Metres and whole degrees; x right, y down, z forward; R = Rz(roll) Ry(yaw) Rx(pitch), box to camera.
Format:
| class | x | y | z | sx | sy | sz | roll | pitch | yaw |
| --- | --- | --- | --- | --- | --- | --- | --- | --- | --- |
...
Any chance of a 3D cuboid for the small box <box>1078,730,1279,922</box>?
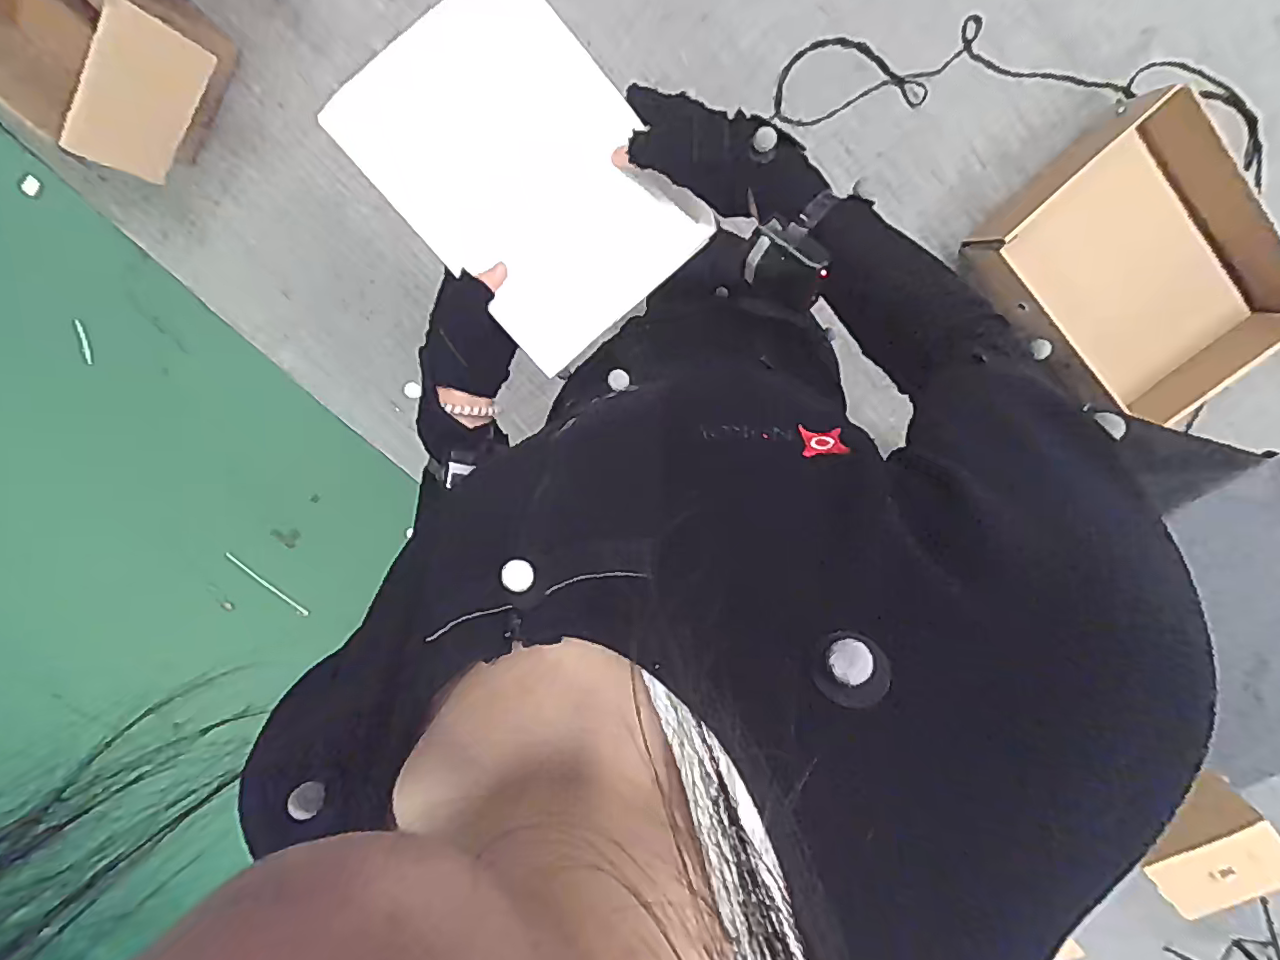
| class | x | y | z | sx | sy | sz | roll | pitch | yaw |
| --- | --- | --- | --- | --- | --- | --- | --- | --- | --- |
| small box | 0.852 | 0.543 | 0.861 | 0.179 | 0.176 | 0.168 | -38 | 106 | 17 |
